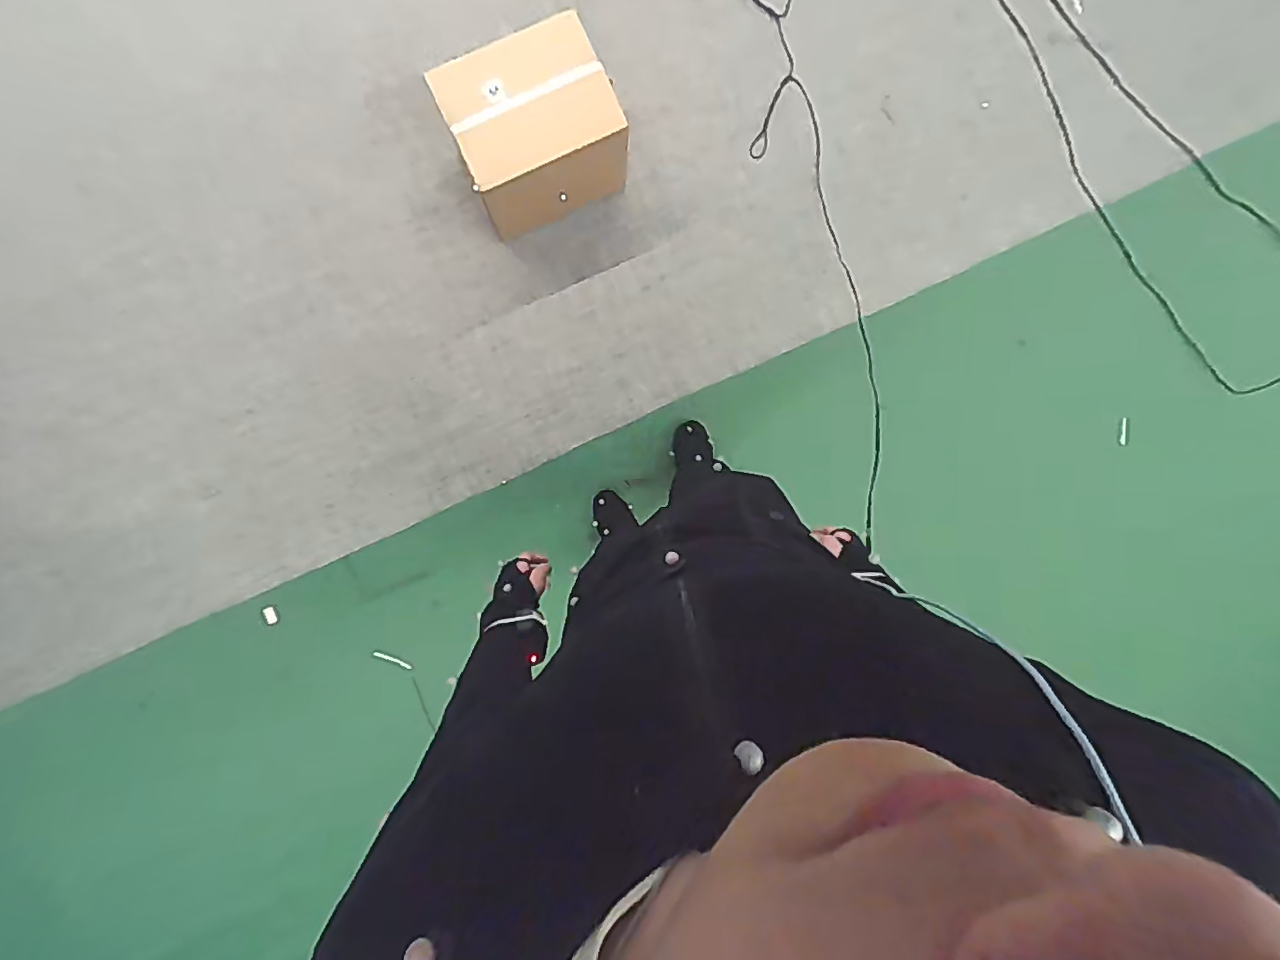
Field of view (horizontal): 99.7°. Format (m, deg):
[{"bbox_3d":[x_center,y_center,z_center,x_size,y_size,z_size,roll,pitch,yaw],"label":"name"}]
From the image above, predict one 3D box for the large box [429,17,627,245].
[{"bbox_3d":[-0.280,-0.921,1.477,0.408,0.320,0.320,-27,92,-1],"label":"large box"}]
